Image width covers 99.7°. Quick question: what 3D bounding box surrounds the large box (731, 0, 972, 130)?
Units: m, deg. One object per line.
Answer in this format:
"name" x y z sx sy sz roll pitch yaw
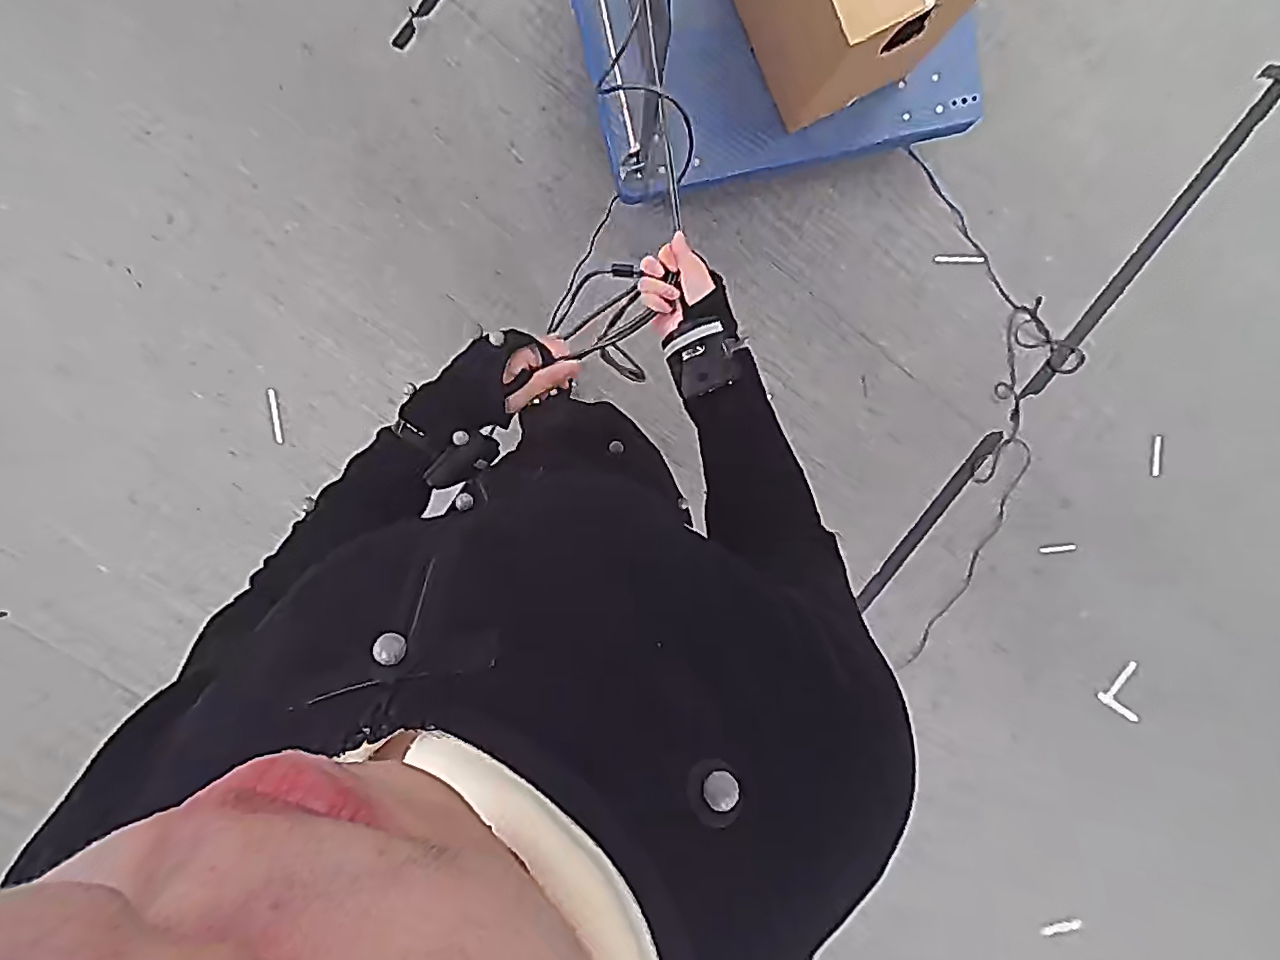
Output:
"large box" 0.389 -1.008 1.047 0.320 0.320 0.408 -27 100 0
